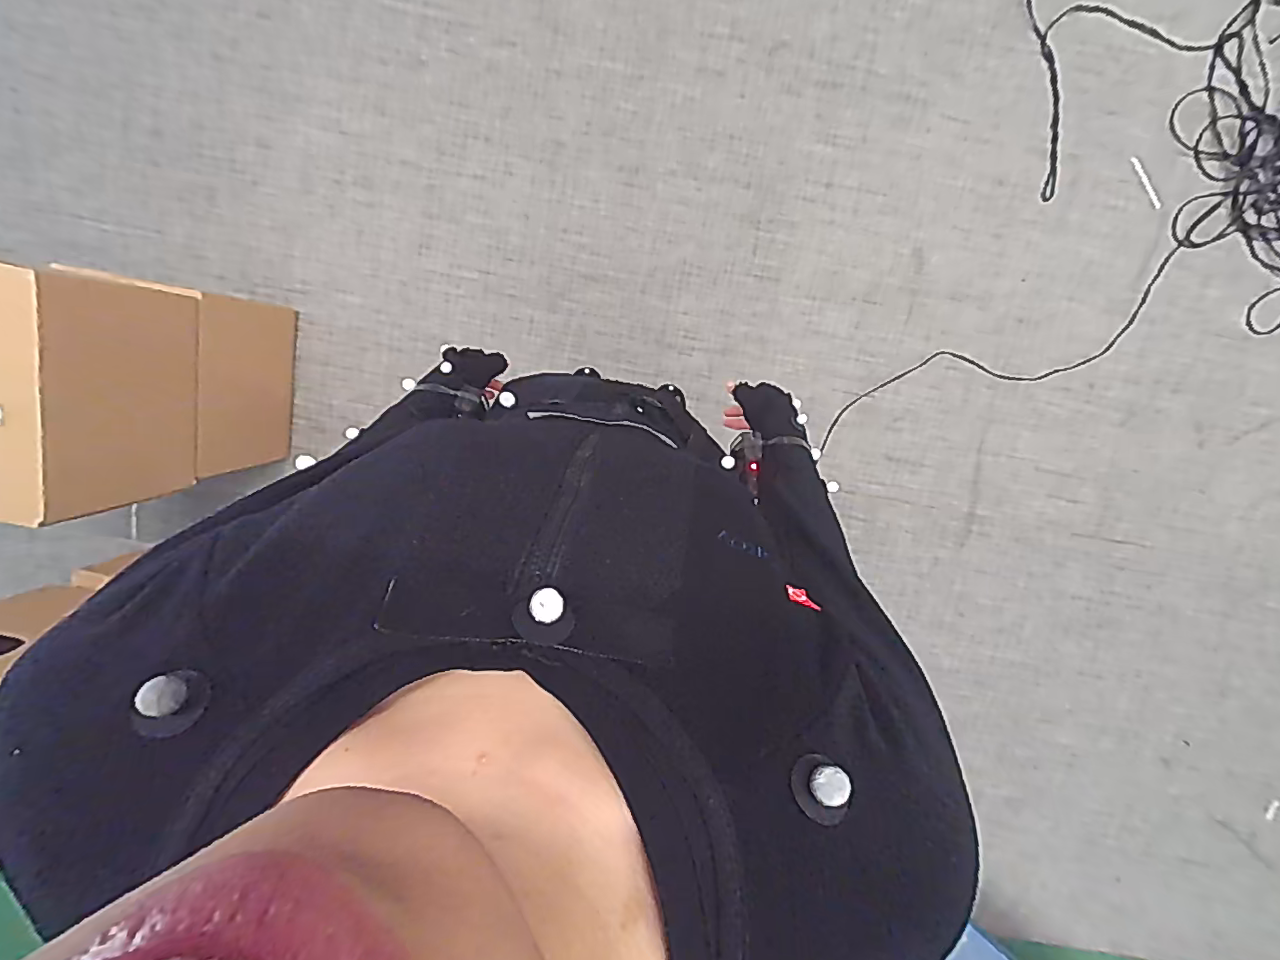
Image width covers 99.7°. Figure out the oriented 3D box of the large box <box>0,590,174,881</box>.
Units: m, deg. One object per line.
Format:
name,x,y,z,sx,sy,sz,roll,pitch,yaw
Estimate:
large box,-1.237,0.492,1.109,0.320,0.320,0.408,12,100,2
